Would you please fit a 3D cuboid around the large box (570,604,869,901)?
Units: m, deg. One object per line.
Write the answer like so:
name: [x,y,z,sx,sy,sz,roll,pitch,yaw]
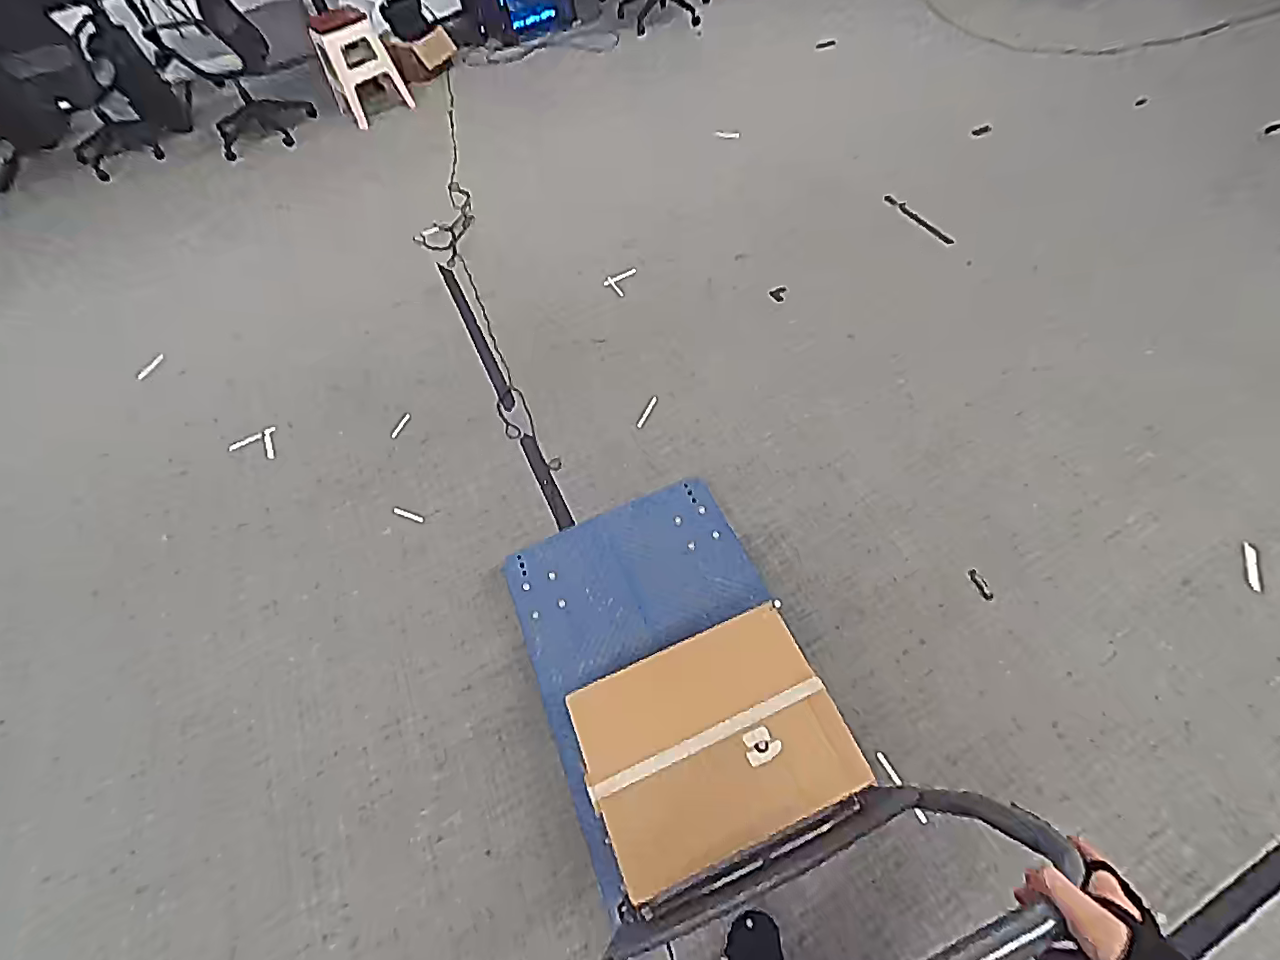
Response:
large box: [0.130,0.496,1.006,0.408,0.320,0.320,-23,59,-8]
